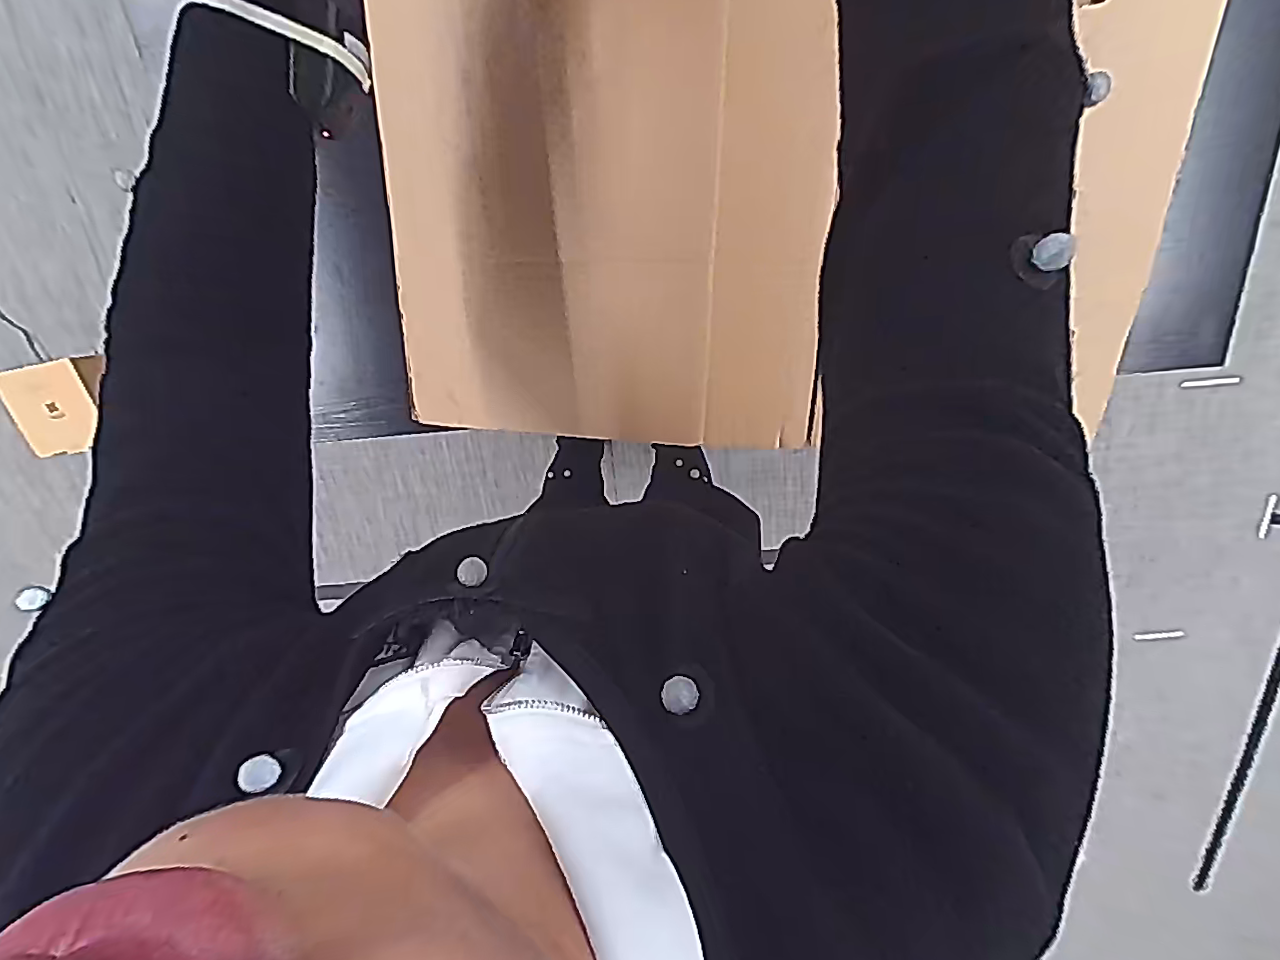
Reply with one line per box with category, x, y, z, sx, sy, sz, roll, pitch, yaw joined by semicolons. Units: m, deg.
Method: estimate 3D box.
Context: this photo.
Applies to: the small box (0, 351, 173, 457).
small box;-1.155;-0.166;1.143;0.168;0.176;0.179;-12;108;2
